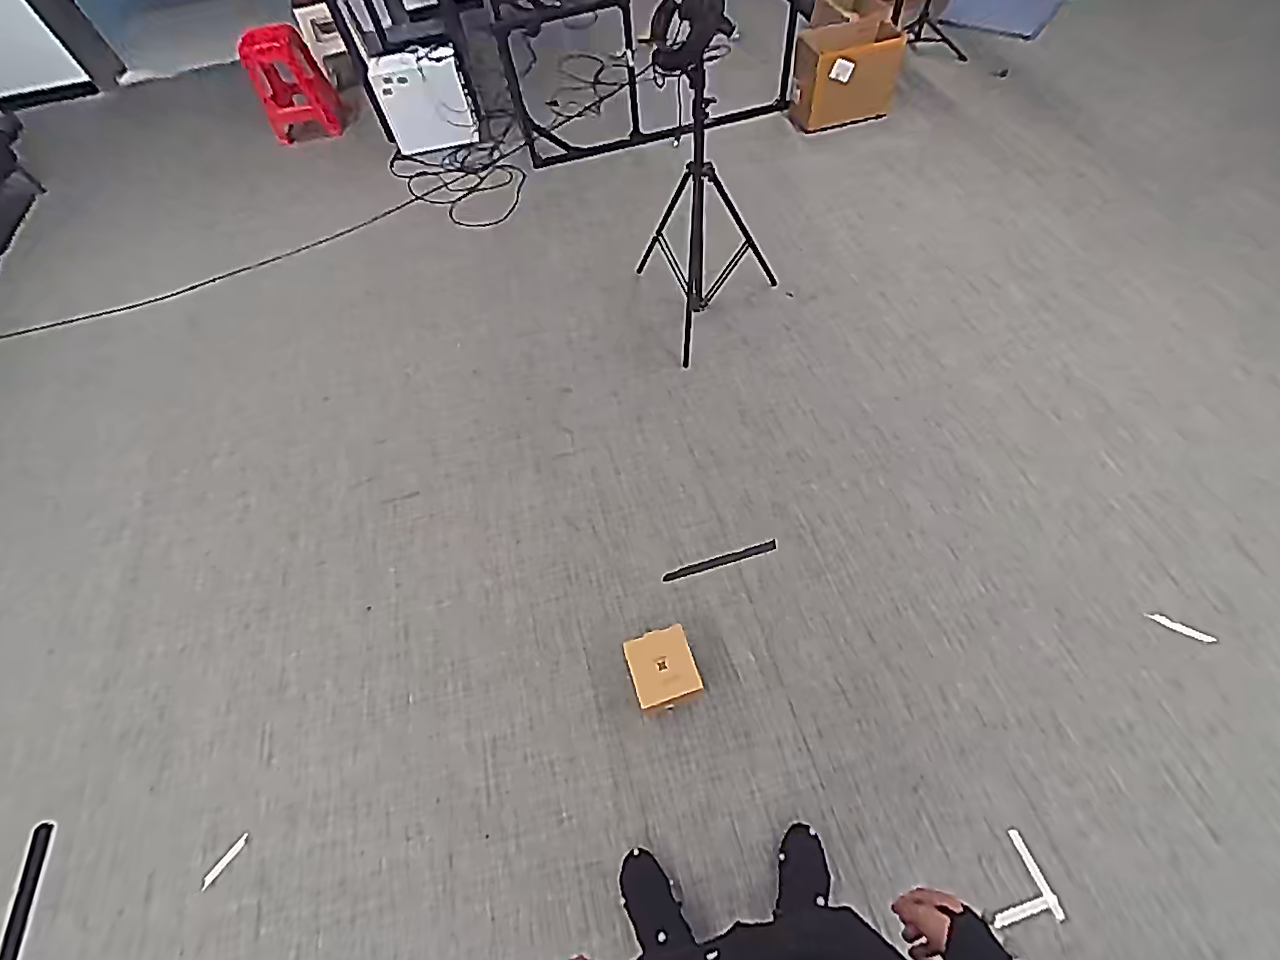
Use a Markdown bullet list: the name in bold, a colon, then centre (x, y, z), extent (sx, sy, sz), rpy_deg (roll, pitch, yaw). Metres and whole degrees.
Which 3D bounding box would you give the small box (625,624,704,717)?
- **small box**: centre (0.067, 0.516, 1.457), extent (0.168, 0.176, 0.179), rpy_deg (-18, 59, -4)
